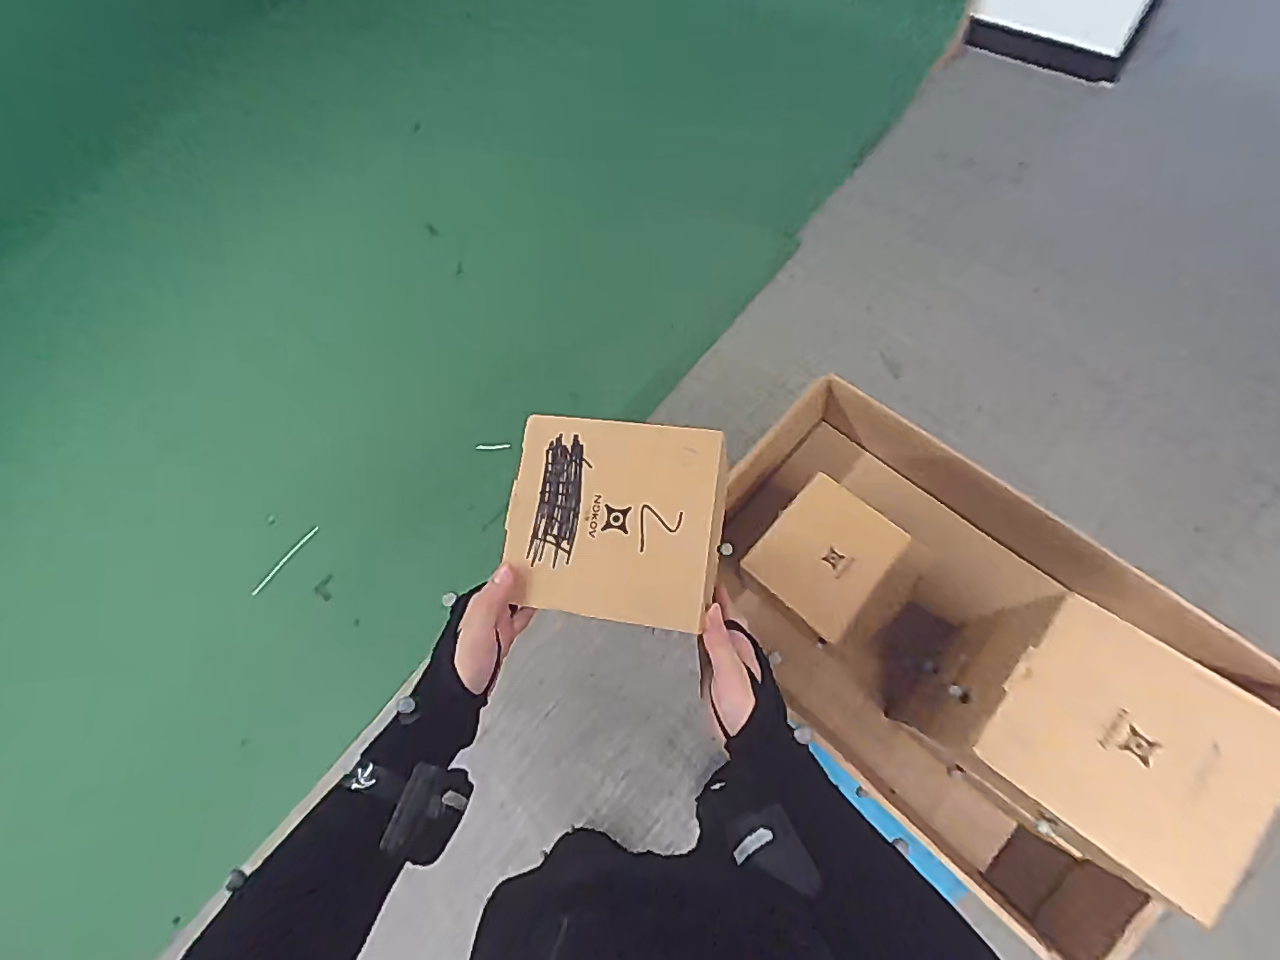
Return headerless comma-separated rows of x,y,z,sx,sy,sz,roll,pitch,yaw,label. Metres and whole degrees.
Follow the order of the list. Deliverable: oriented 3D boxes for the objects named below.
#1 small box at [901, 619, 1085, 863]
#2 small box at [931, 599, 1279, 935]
0.439,0.292,0.635,0.179,0.176,0.168,37,83,24,small box
0.399,0.235,0.487,0.179,0.176,0.168,36,83,23,small box
